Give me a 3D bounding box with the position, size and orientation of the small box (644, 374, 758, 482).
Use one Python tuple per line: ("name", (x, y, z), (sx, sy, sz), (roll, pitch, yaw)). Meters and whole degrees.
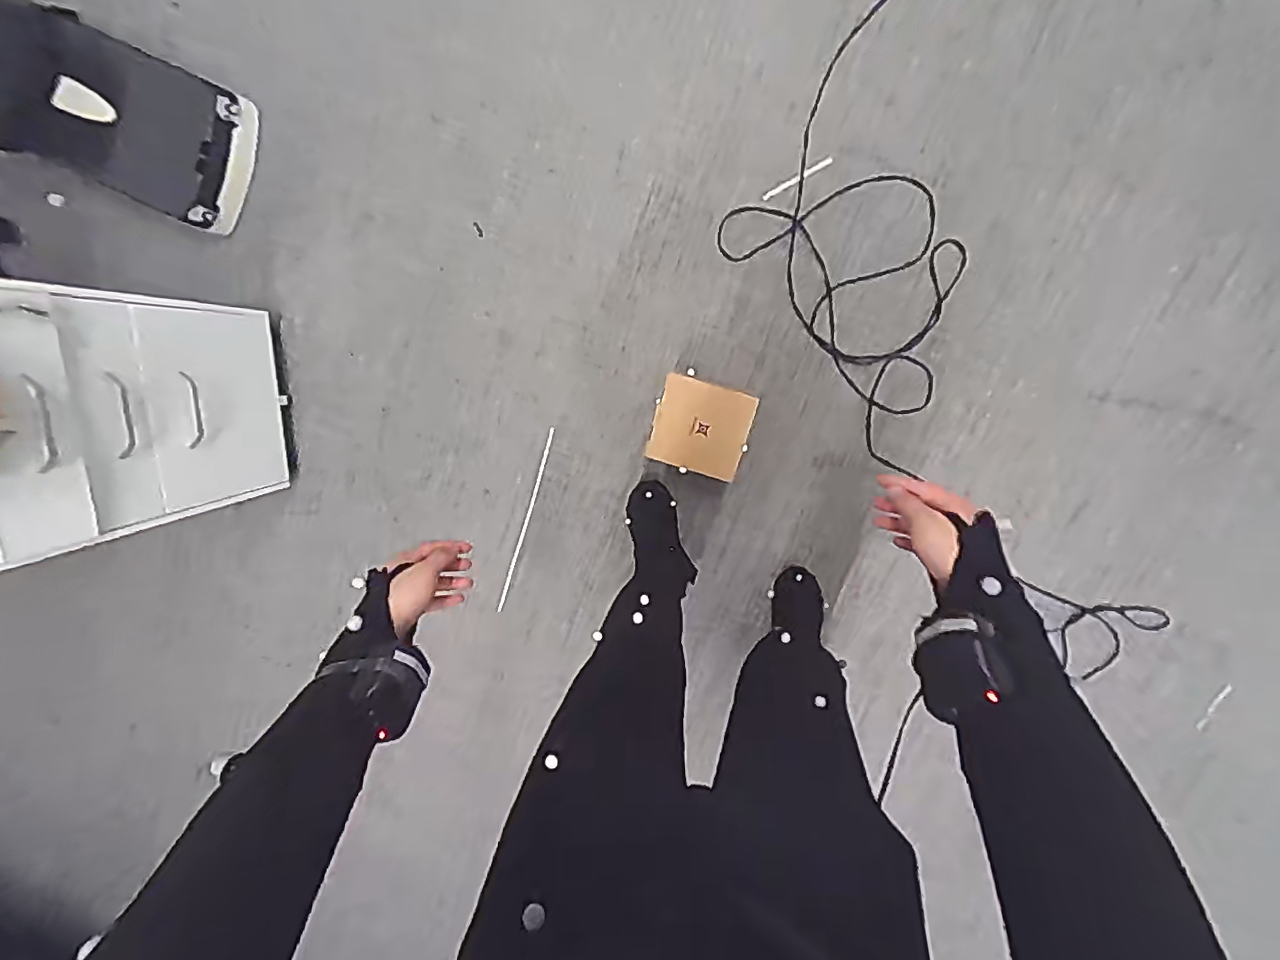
("small box", (0.121, -0.113, 1.084), (0.179, 0.176, 0.168), (17, 104, 4))
